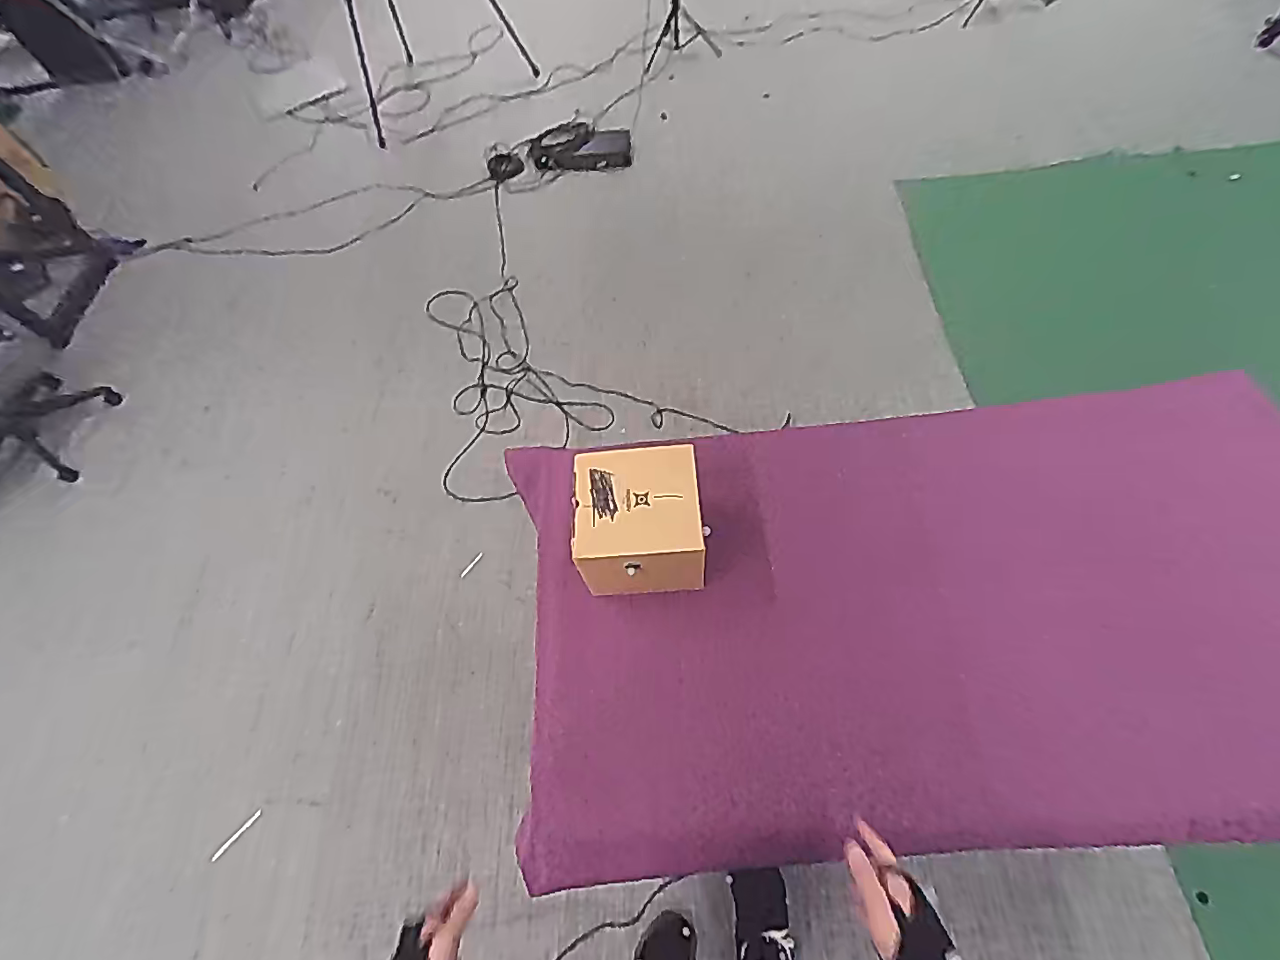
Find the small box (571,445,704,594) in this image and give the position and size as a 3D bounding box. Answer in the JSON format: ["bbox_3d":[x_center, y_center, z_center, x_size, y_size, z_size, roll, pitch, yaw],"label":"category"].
[{"bbox_3d":[0.002,0.066,0.806,0.179,0.176,0.168,-4,61,3],"label":"small box"}]
